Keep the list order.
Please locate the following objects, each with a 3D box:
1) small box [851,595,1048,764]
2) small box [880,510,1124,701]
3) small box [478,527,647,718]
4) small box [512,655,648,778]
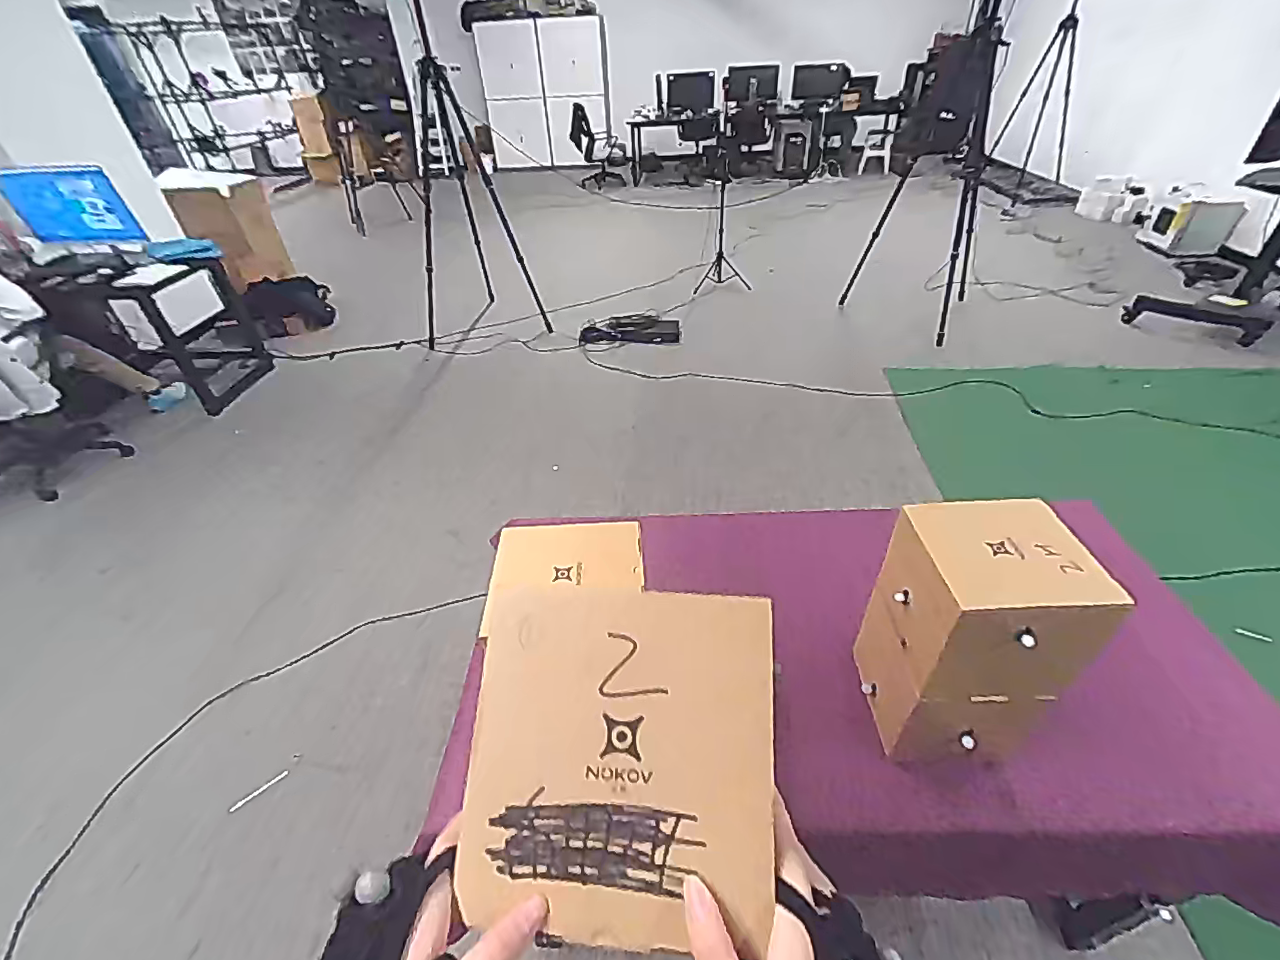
[{"bbox_3d":[0.417,0.283,0.766,0.168,0.176,0.179,-1,39,2],"label":"small box"},{"bbox_3d":[0.412,0.154,0.662,0.179,0.176,0.168,-1,39,2],"label":"small box"},{"bbox_3d":[-0.083,0.177,0.670,0.179,0.176,0.168,-2,39,-2],"label":"small box"},{"bbox_3d":[-0.073,0.305,0.770,0.168,0.176,0.179,-1,38,0],"label":"small box"}]
